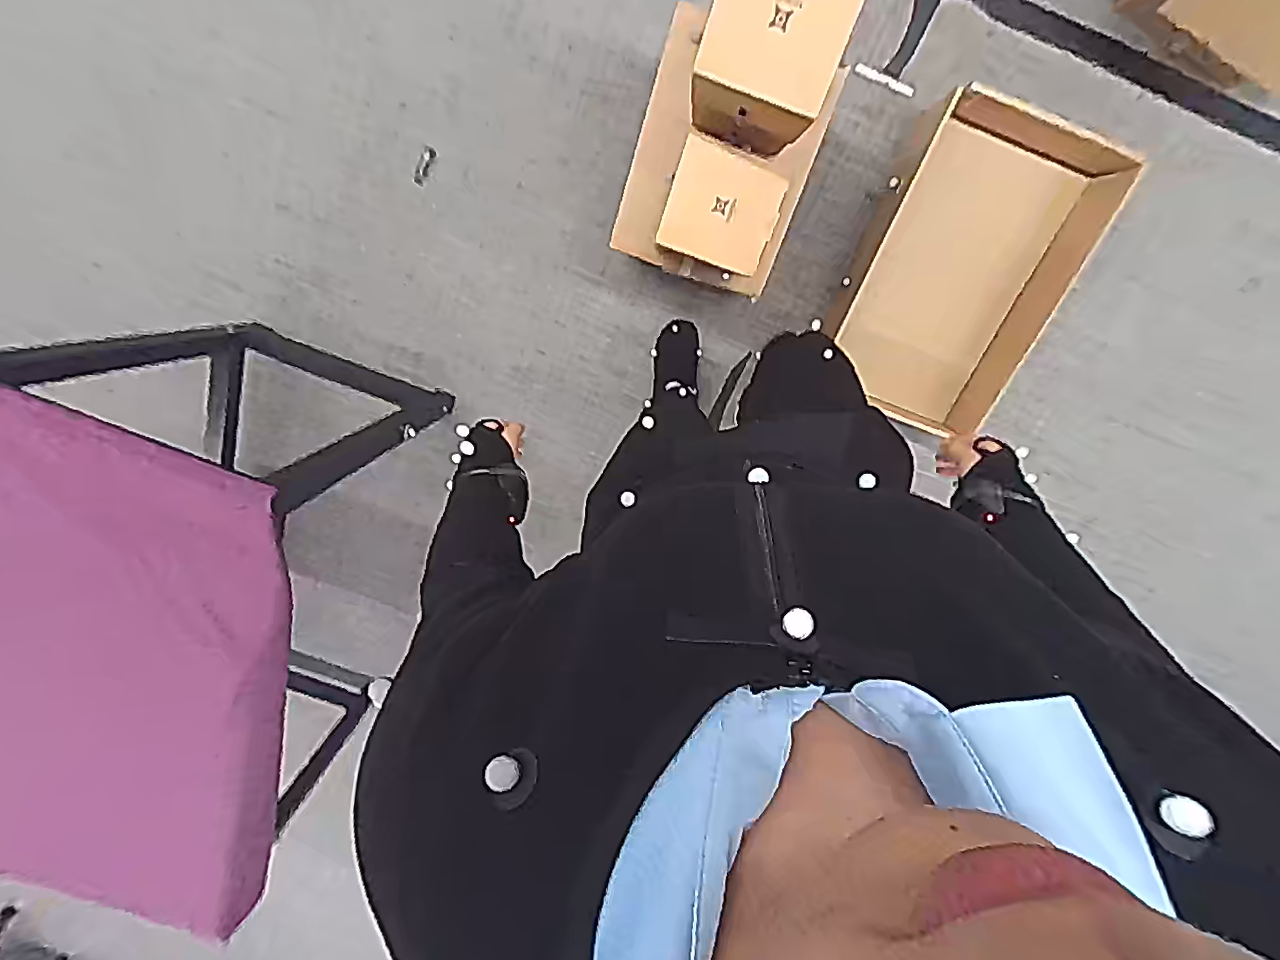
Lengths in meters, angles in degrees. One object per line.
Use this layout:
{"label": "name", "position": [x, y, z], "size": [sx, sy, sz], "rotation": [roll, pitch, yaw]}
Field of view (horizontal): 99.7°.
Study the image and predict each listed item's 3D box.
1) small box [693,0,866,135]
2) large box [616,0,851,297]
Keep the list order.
{"label": "small box", "position": [0.176, -0.573, 0.690], "size": [0.168, 0.176, 0.179], "rotation": [19, 113, -4]}
{"label": "large box", "position": [0.165, -0.633, 1.108], "size": [0.320, 0.320, 0.408], "rotation": [19, 113, -2]}
